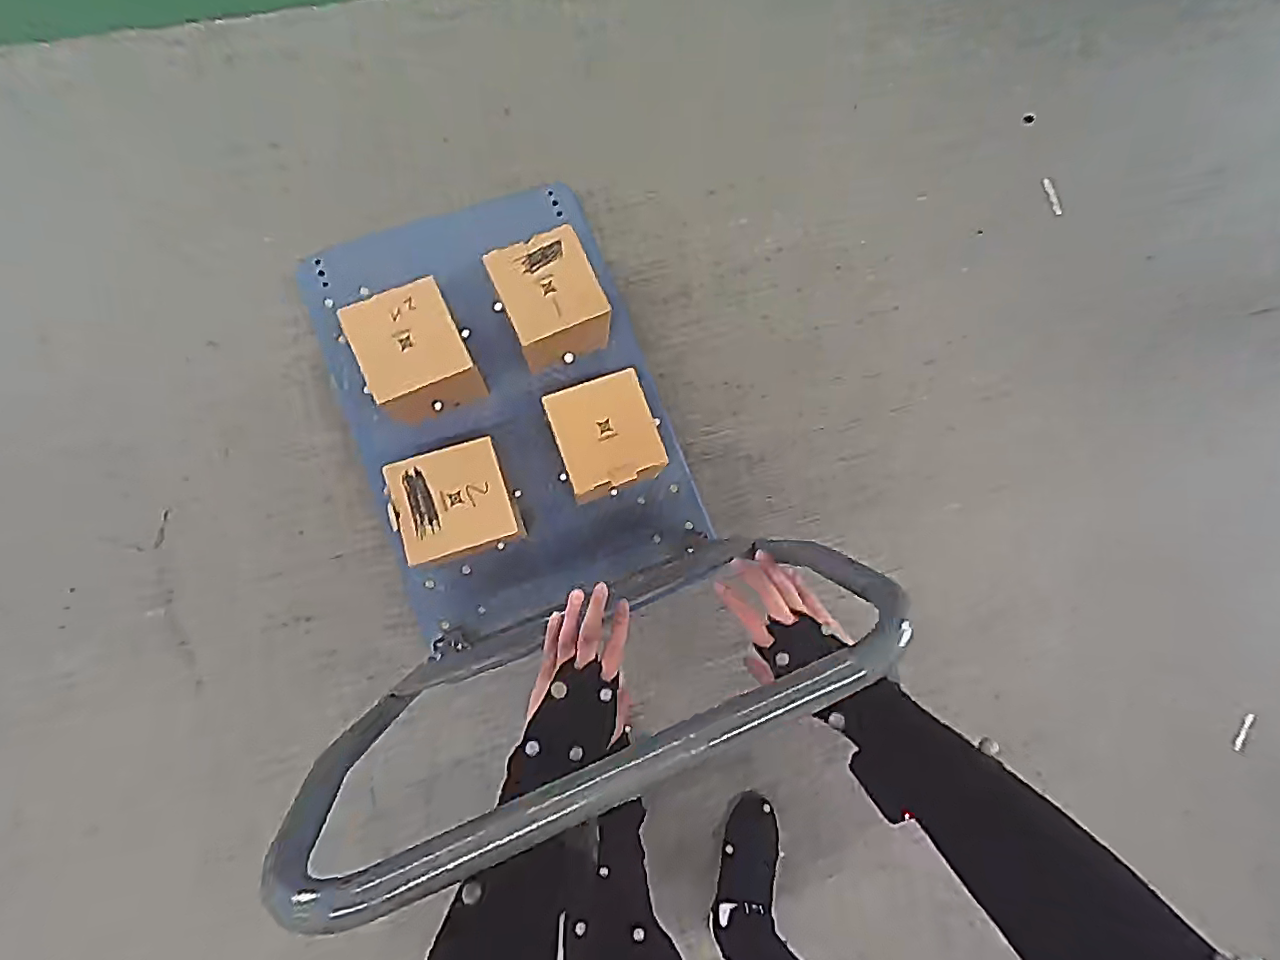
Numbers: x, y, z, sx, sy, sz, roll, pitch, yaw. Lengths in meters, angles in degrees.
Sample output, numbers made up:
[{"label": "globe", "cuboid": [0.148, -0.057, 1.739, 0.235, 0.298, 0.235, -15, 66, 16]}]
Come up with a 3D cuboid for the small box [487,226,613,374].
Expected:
[{"label": "small box", "cuboid": [-0.162, -0.322, 0.996, 0.168, 0.176, 0.179, -24, 87, -8]}]

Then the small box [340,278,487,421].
[{"label": "small box", "cuboid": [-0.388, -0.217, 0.959, 0.168, 0.176, 0.179, -24, 85, -9]}]

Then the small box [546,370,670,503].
[{"label": "small box", "cuboid": [-0.063, -0.071, 0.974, 0.168, 0.176, 0.179, -20, 85, -8]}]
